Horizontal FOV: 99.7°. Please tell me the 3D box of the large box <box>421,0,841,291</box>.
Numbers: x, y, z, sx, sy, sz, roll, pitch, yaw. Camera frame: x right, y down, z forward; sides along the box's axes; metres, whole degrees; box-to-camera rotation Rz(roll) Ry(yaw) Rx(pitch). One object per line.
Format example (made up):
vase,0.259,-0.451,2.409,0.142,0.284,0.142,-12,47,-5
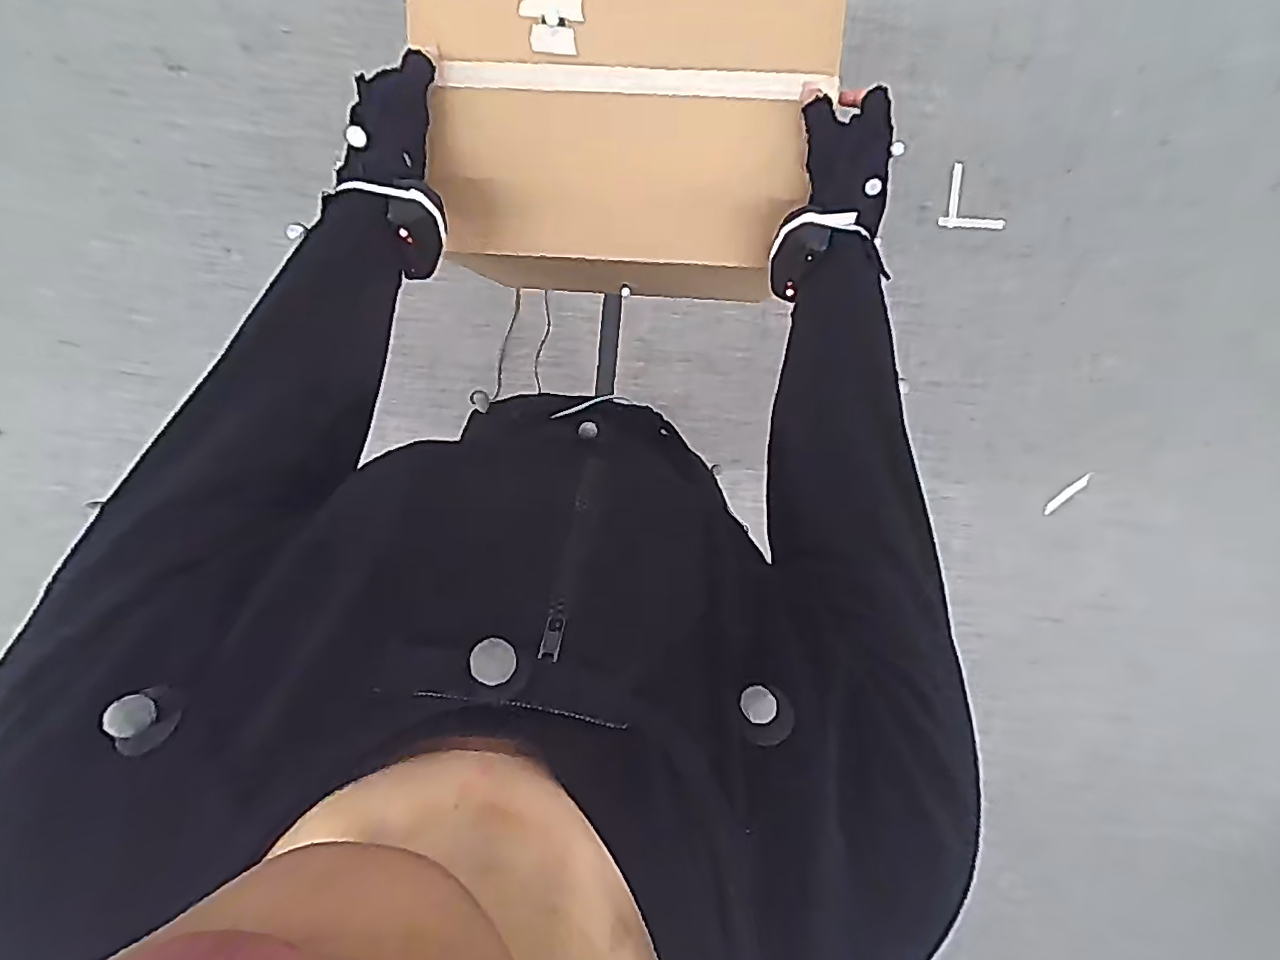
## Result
large box,-0.007,-0.413,0.666,0.408,0.320,0.320,4,102,2
